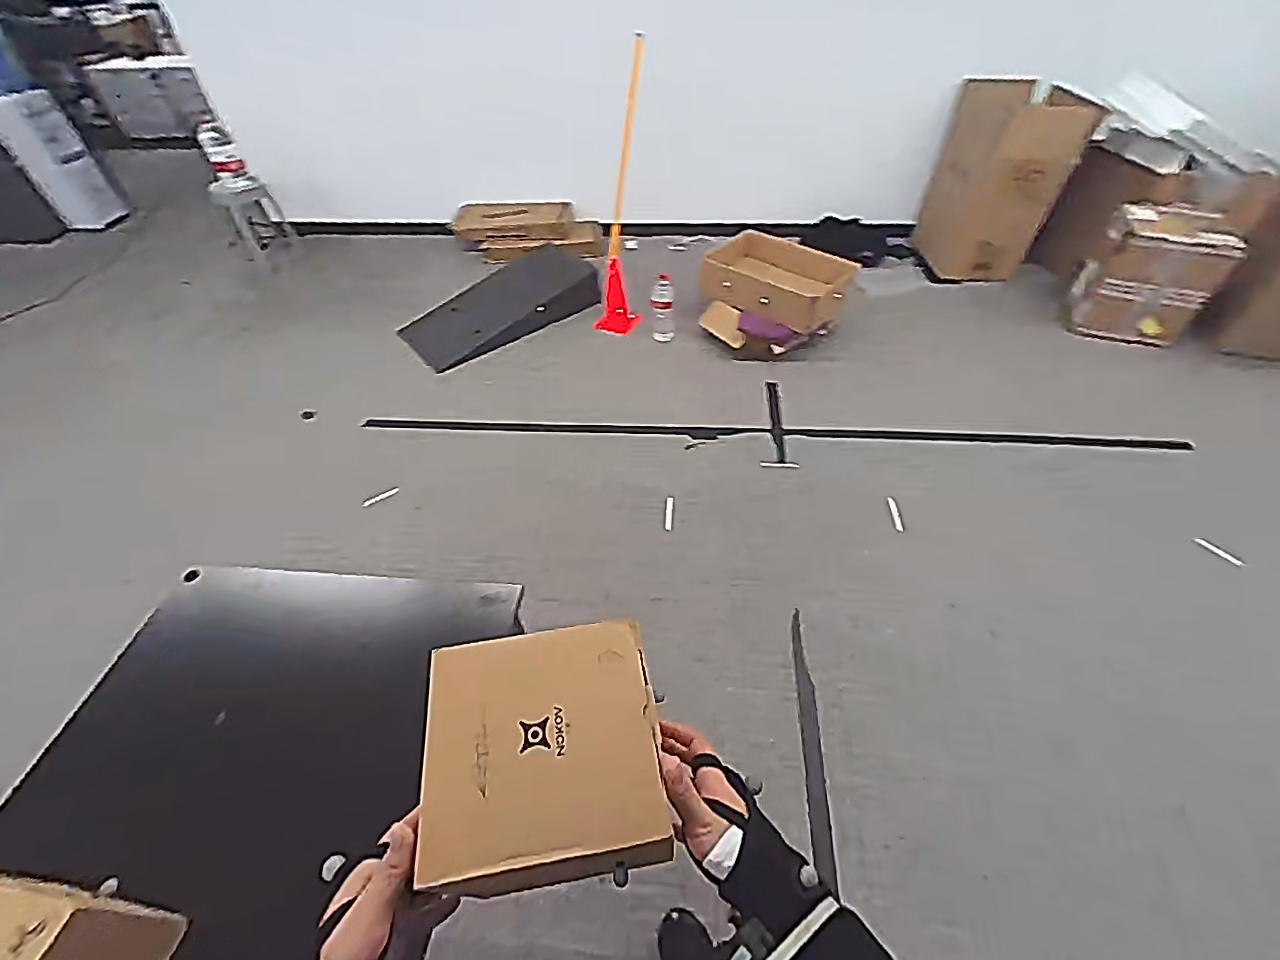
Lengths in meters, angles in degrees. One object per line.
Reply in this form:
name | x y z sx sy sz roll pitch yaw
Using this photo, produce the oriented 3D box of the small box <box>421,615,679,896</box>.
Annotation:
small box | -0.067 0.242 0.471 0.179 0.176 0.168 -10 49 -3
